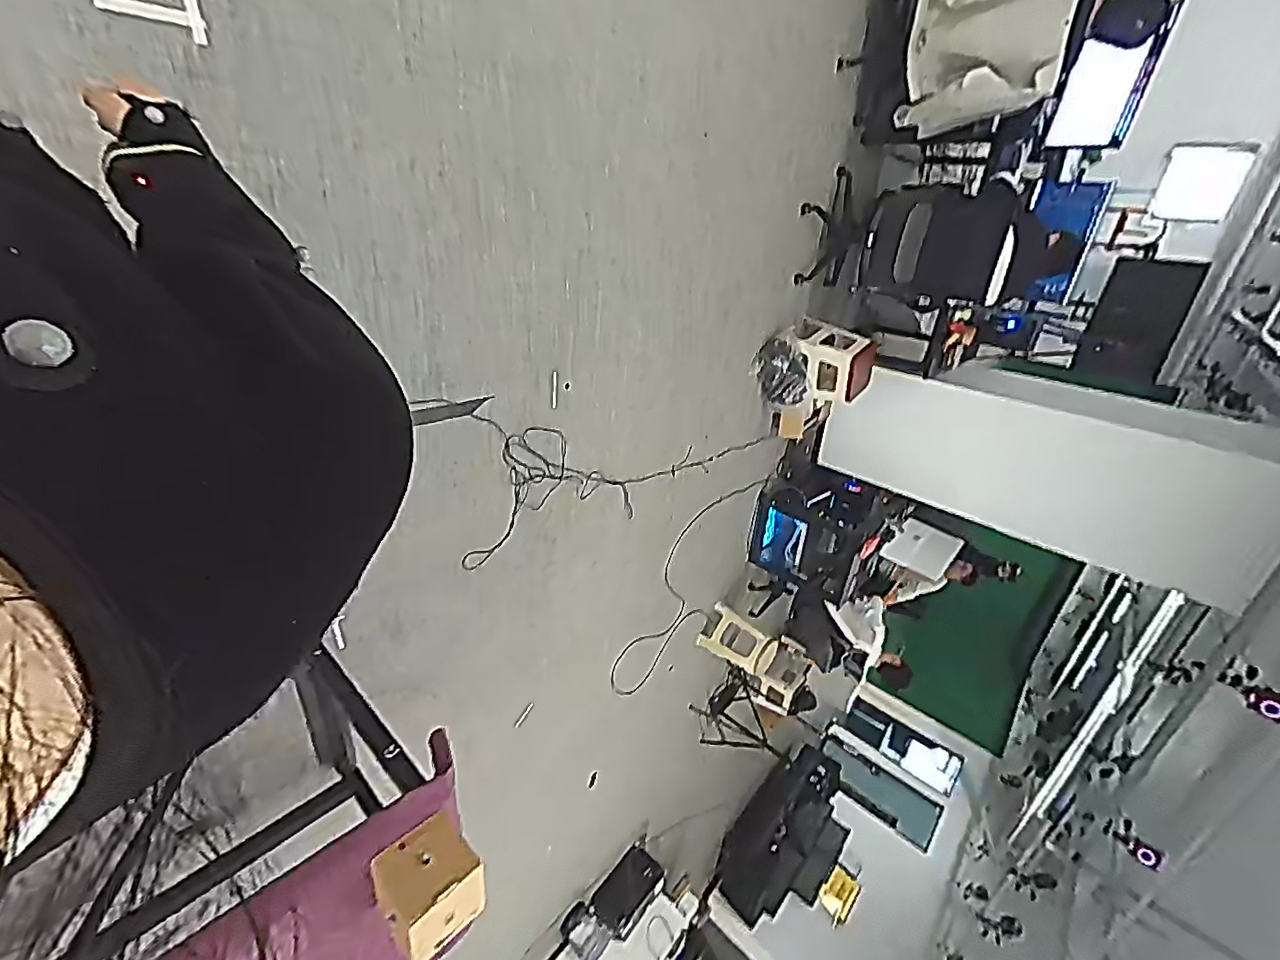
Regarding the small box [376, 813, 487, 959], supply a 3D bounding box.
[{"bbox_3d":[-0.450,0.866,1.167,0.168,0.176,0.179,-21,126,-44],"label":"small box"}]
